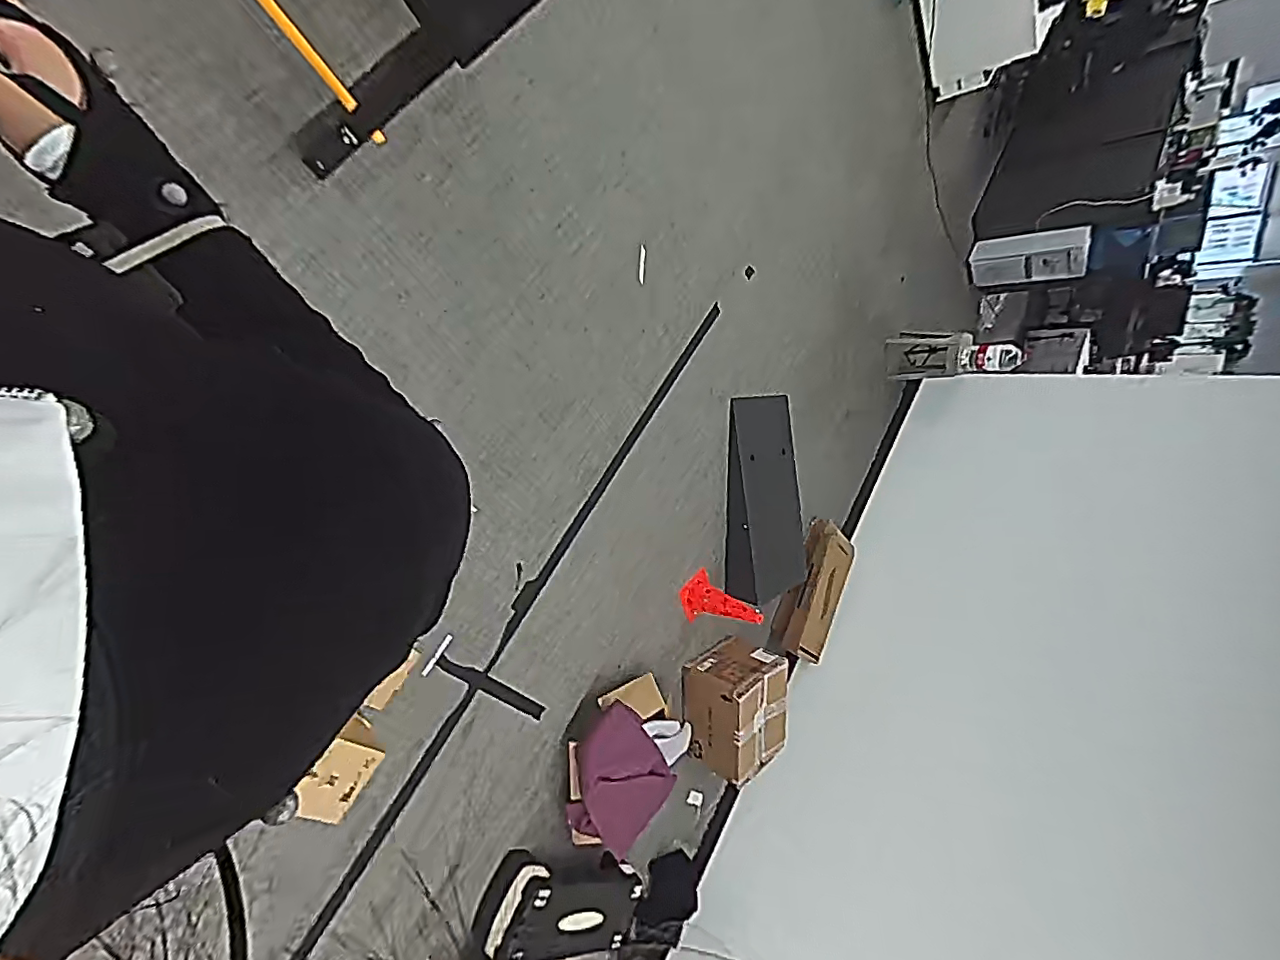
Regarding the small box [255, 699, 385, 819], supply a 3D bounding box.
[{"bbox_3d":[-0.727,0.622,1.224,0.179,0.176,0.168,49,65,-38],"label":"small box"}]
